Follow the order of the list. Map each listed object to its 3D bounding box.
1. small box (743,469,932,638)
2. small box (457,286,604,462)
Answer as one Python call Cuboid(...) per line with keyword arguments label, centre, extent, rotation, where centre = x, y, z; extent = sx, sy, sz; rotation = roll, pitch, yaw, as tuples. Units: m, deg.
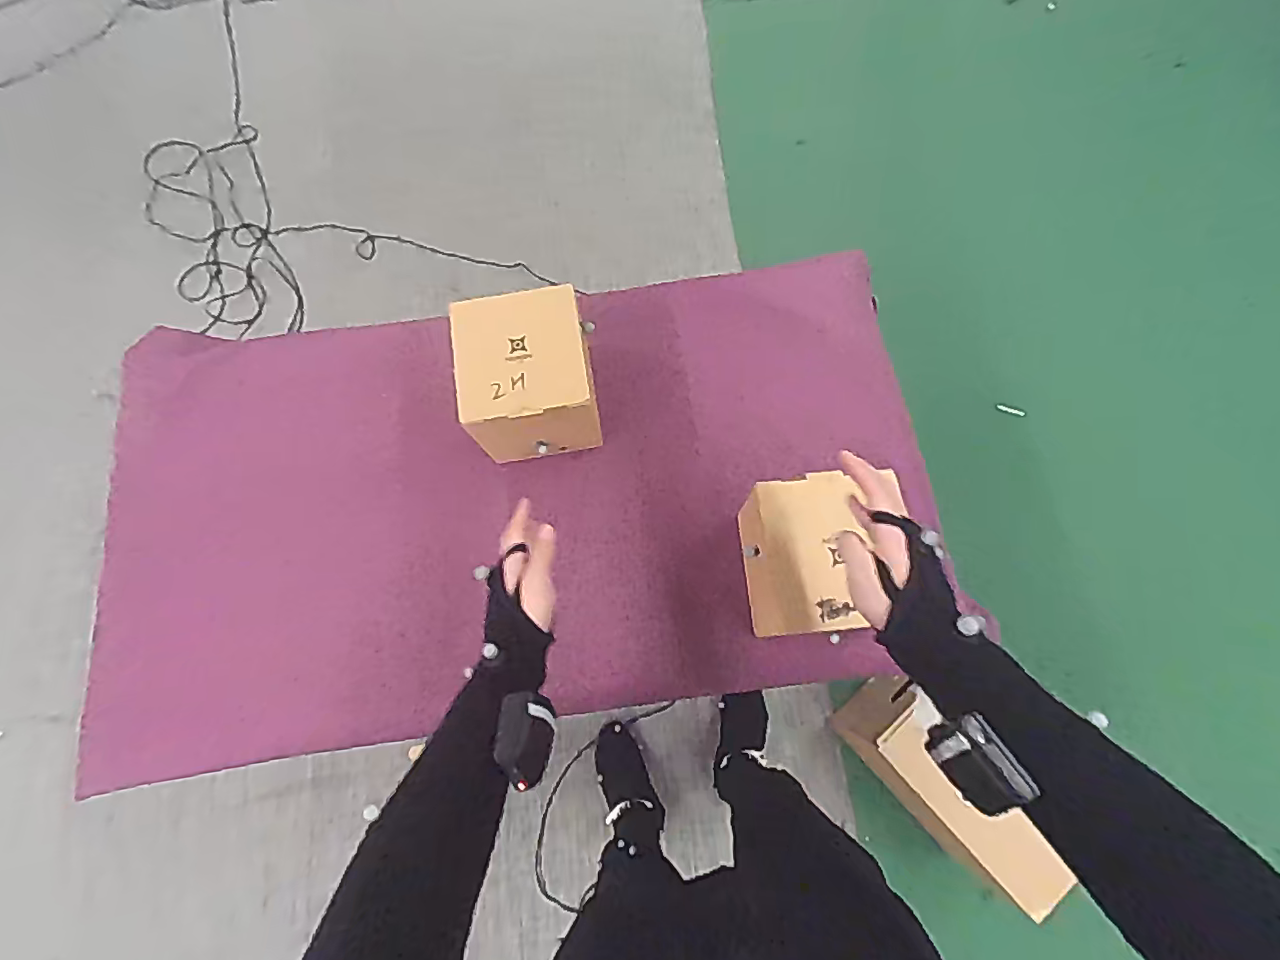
Cuboid(label="small box", centre=(0.231, 0.101, 0.684), extent=(0.168, 0.176, 0.179), rotation=(-6, 72, 2))
Cuboid(label="small box", centre=(-0.147, -0.142, 0.767), extent=(0.168, 0.176, 0.179), rotation=(-9, 74, 0))
